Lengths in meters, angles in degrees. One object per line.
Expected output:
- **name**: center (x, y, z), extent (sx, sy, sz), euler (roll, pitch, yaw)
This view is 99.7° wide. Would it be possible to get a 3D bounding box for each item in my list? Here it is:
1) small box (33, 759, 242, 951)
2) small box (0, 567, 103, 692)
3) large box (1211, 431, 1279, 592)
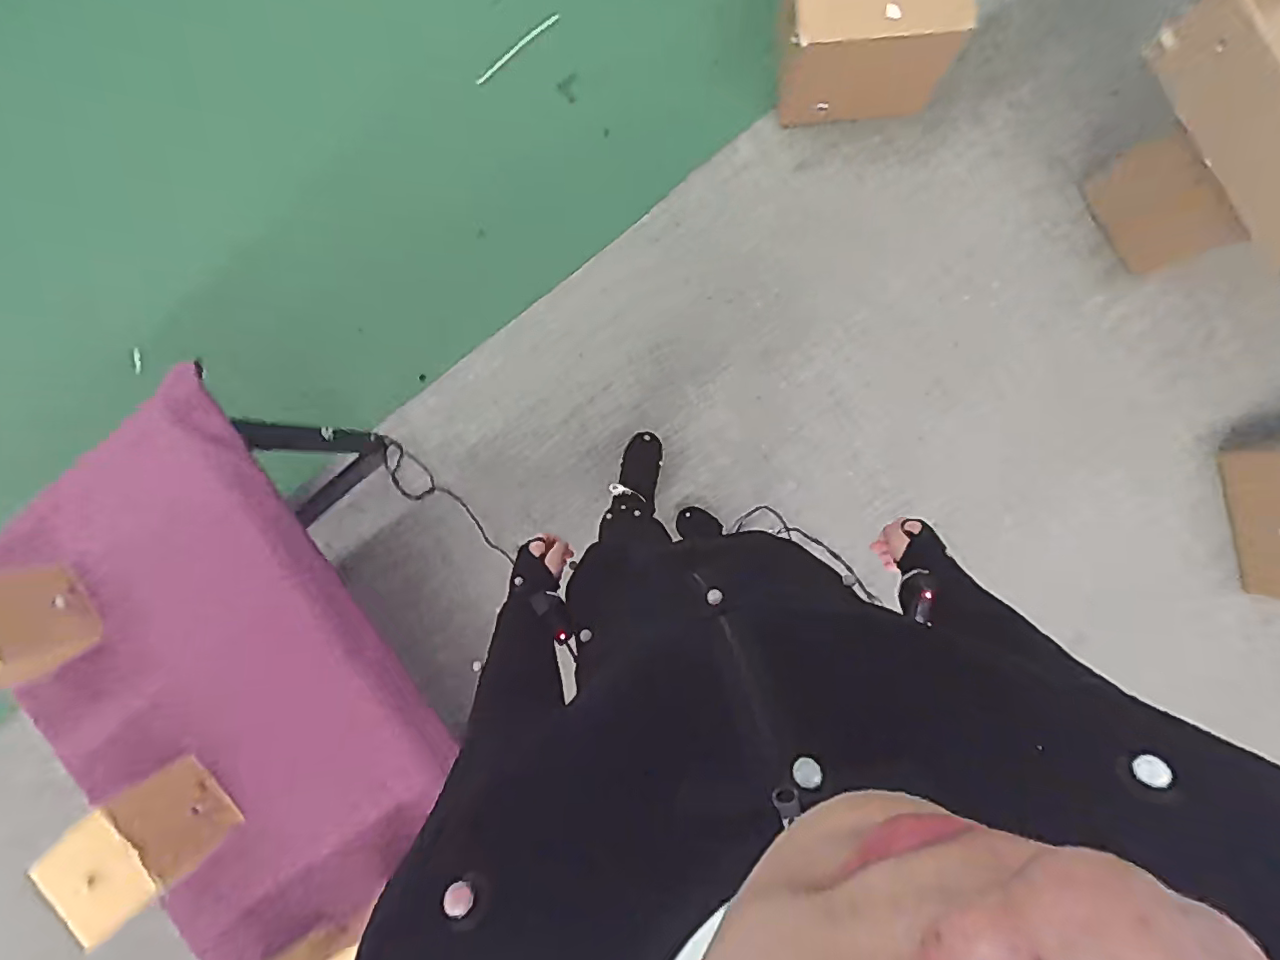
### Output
- **small box**: center (-0.855, 0.636, 0.939), extent (0.179, 0.176, 0.168), euler (-42, 87, 4)
- **small box**: center (-1.126, 0.274, 0.950), extent (0.179, 0.176, 0.168), euler (-31, 90, 5)
- **large box**: center (1.758, 0.066, 1.339), extent (0.320, 0.320, 0.408), euler (-13, 90, 5)
